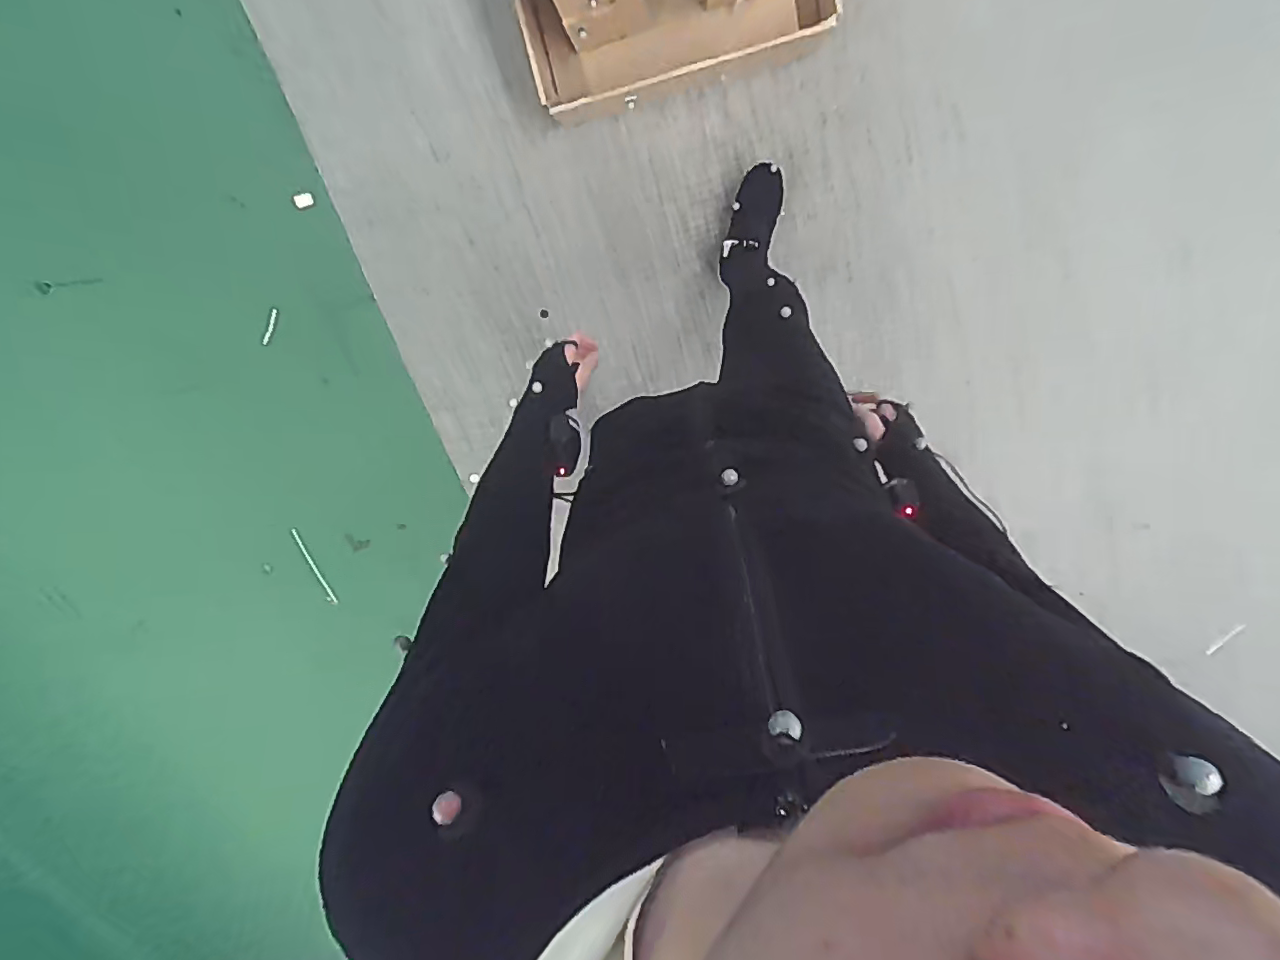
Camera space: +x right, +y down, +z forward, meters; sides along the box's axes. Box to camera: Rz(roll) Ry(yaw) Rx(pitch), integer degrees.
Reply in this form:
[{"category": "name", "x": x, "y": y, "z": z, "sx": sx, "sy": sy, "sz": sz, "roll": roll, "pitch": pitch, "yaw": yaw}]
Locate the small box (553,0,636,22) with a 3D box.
[{"category": "small box", "x": -0.098, "y": -0.947, "z": 0.932, "sx": 0.168, "sy": 0.176, "sz": 0.179, "roll": -11, "pitch": 111, "yaw": 8}]
